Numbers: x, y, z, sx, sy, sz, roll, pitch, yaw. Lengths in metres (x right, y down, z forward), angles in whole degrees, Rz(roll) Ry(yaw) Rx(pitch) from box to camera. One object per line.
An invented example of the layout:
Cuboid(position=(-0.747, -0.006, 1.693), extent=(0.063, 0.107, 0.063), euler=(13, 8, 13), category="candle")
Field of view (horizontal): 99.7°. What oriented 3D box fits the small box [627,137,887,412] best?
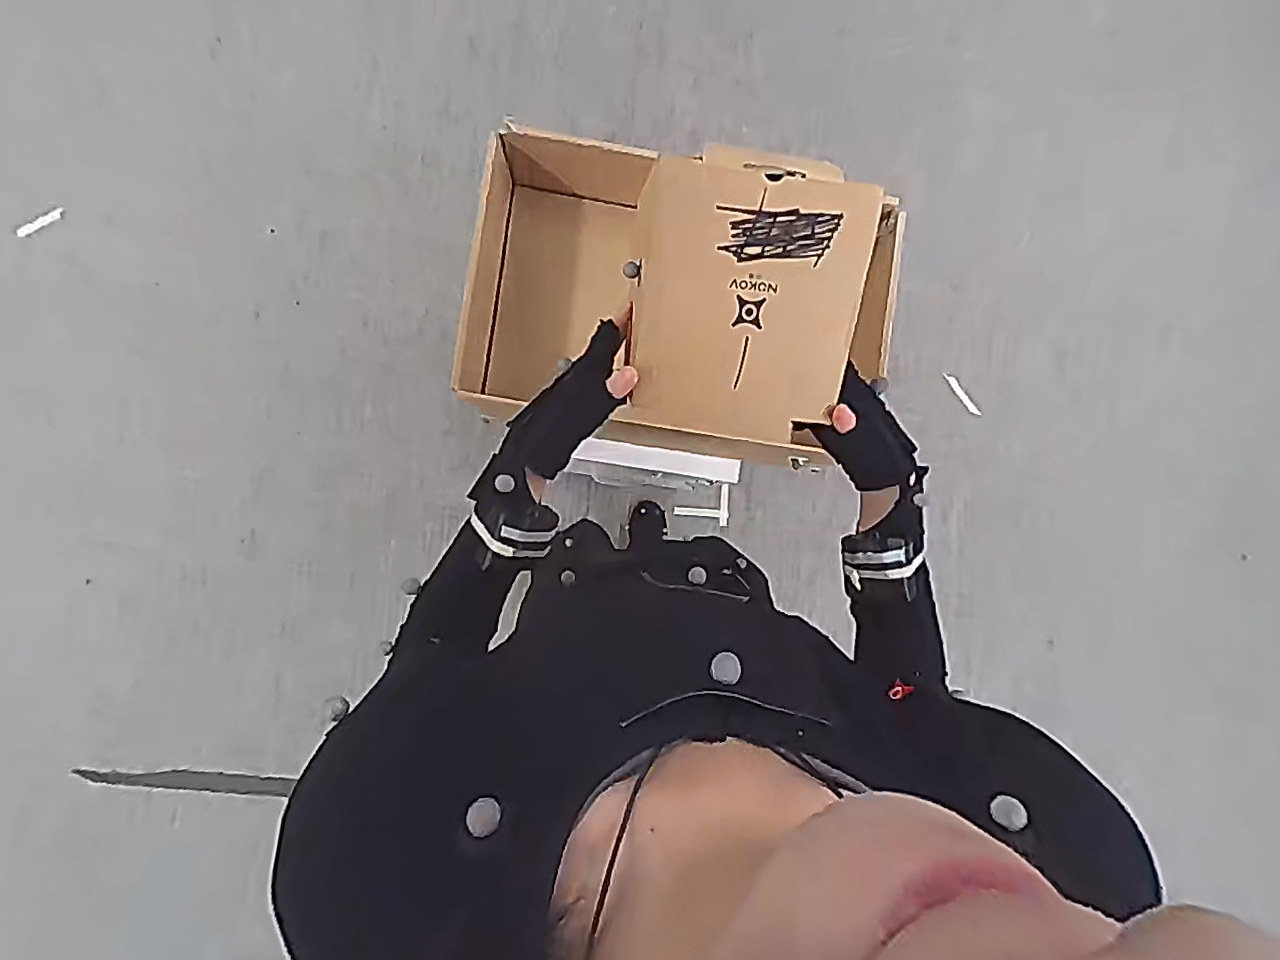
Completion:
Cuboid(position=(0.080, -0.166, 0.475), extent=(0.168, 0.176, 0.179), euler=(5, 107, -6), category="small box")
